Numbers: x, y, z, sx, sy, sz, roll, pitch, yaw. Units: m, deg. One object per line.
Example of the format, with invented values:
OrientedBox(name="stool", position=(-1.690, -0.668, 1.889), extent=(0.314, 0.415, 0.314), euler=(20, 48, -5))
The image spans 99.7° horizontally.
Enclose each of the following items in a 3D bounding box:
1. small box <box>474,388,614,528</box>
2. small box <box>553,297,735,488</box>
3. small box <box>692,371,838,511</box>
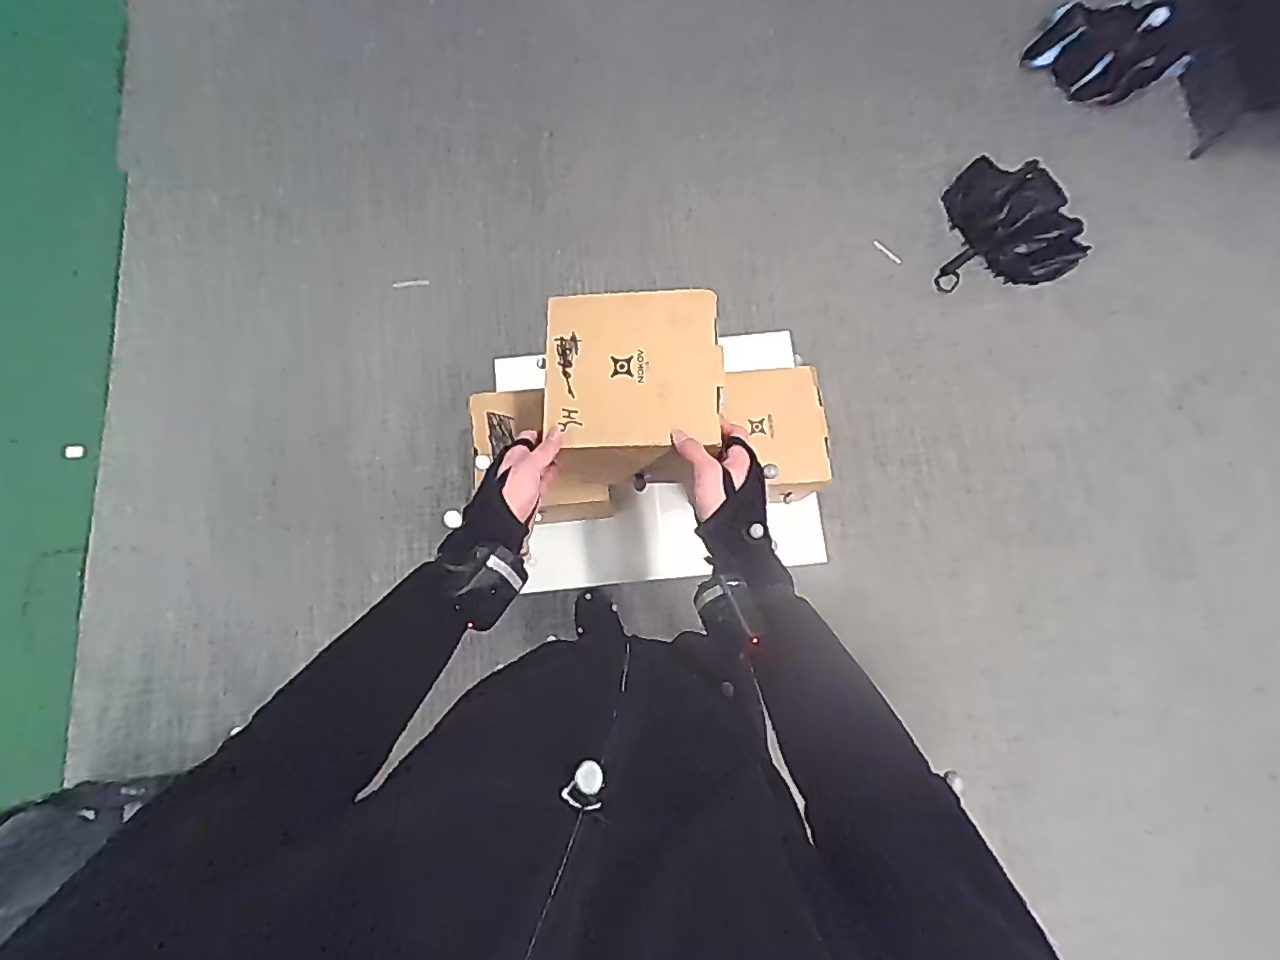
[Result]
OrientedBox(name="small box", position=(-0.131, -0.025, 0.787), extent=(0.179, 0.176, 0.168), euler=(-5, 79, -3))
OrientedBox(name="small box", position=(0.006, -0.088, 0.609), extent=(0.179, 0.176, 0.168), euler=(0, 77, 2))
OrientedBox(name="small box", position=(0.168, -0.049, 0.797), extent=(0.179, 0.176, 0.168), euler=(-4, 78, 0))
